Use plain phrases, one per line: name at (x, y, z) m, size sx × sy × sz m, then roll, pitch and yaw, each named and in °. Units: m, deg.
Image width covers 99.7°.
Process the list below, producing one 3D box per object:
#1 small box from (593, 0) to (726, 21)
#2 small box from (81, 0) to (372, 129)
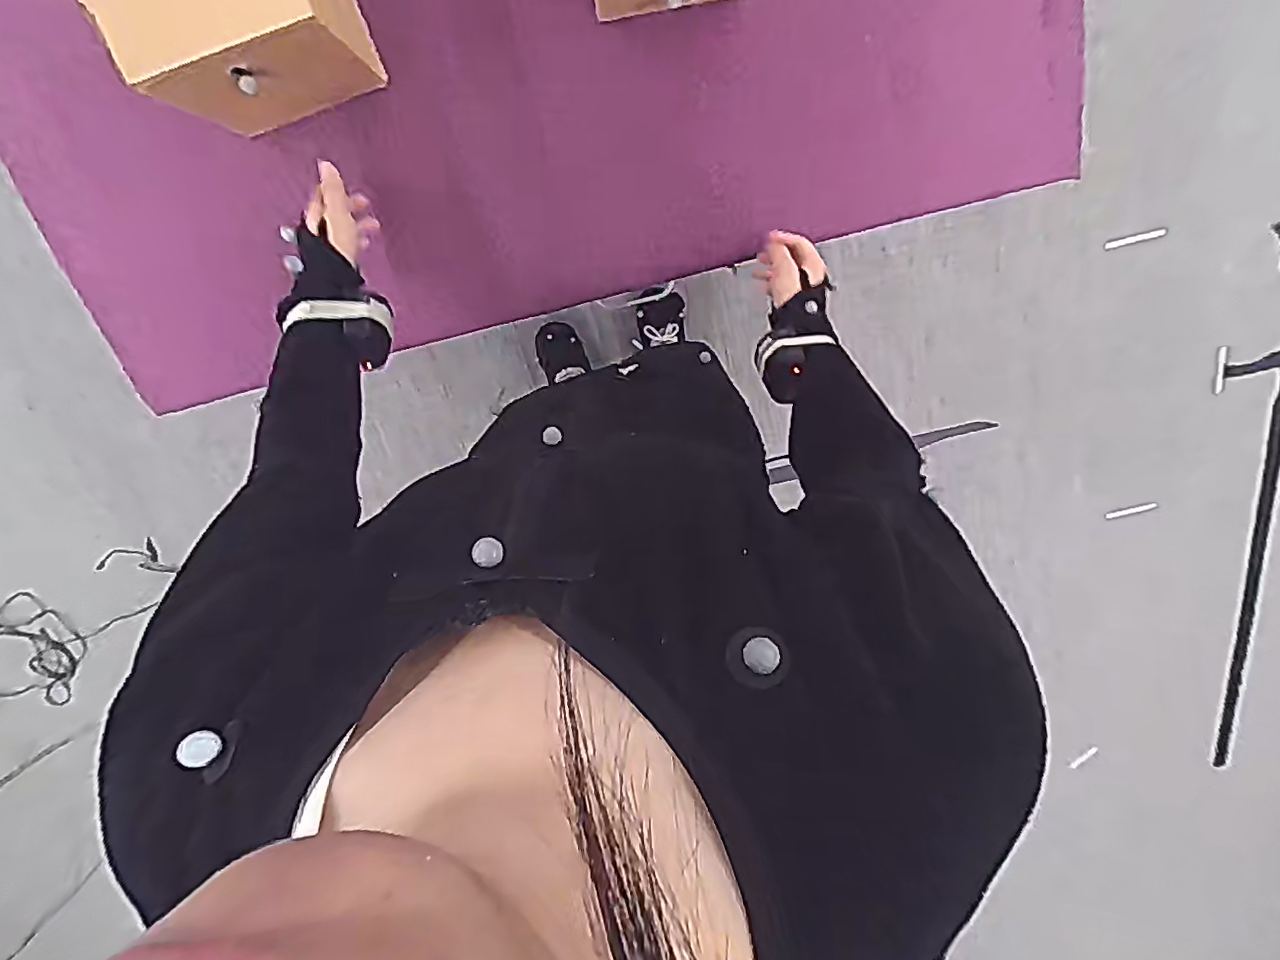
small box at (0.021, -0.563, 0.483) m, size 0.168 × 0.176 × 0.179 m, roll -10°, pitch 111°, yaw 1°
small box at (-0.380, -0.459, 0.501) m, size 0.179 × 0.176 × 0.168 m, roll -17°, pitch 111°, yaw 4°
